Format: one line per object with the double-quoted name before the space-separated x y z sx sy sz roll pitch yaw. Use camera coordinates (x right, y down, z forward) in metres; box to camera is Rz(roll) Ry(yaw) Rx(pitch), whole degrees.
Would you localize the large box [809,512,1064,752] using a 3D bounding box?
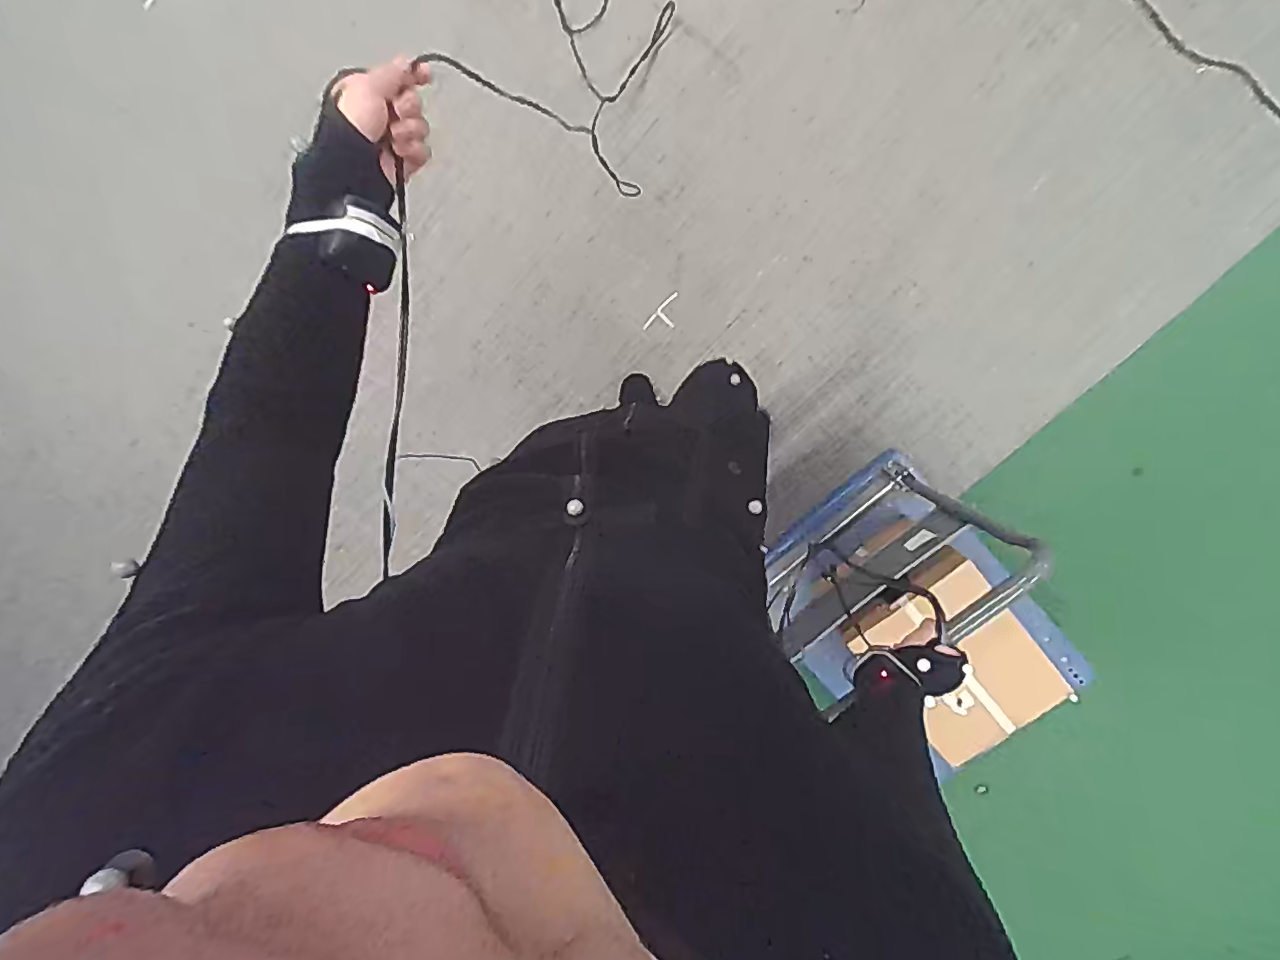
"large box" 0.692 0.352 1.327 0.320 0.320 0.408 -40 99 12
